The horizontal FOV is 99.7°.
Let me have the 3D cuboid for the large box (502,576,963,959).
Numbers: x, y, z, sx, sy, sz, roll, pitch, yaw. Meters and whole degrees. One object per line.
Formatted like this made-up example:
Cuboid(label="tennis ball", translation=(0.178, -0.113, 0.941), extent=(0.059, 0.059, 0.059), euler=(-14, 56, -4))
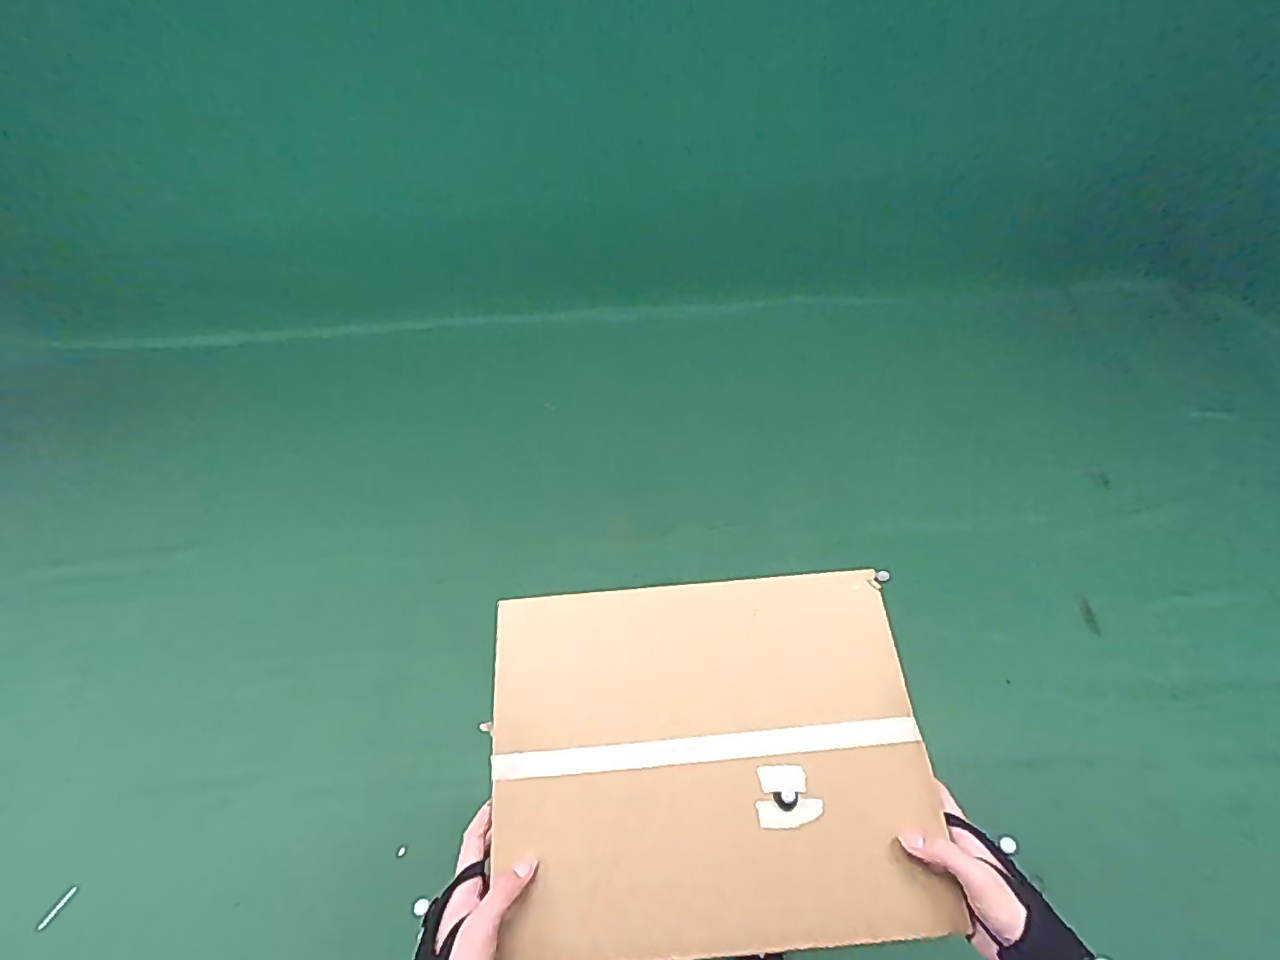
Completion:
Cuboid(label="large box", translation=(0.067, 0.327, 0.652), extent=(0.408, 0.320, 0.320), euler=(-5, 65, -2))
